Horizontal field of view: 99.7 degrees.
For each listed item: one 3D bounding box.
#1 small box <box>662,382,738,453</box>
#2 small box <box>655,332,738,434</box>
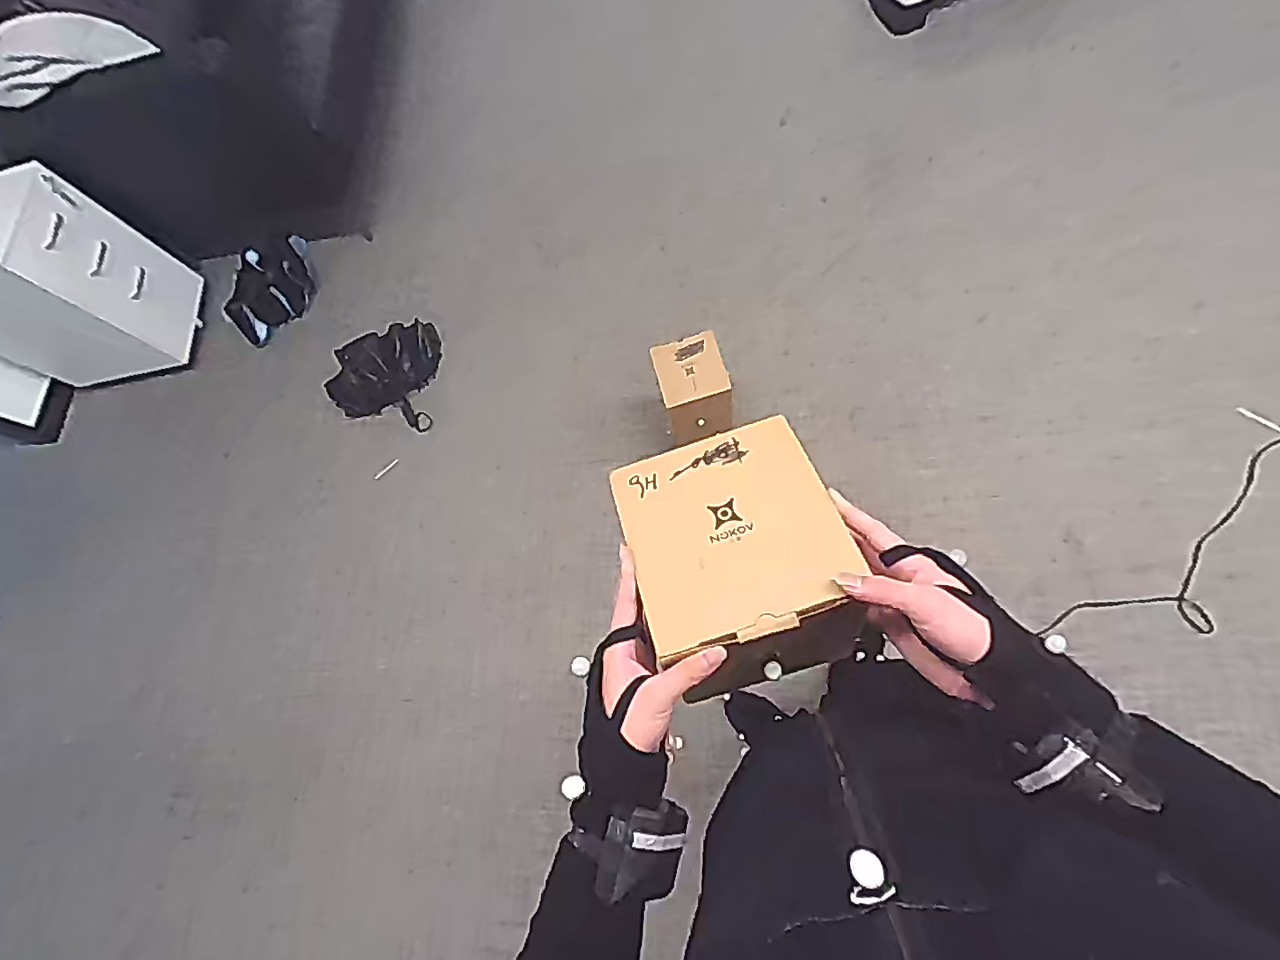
[{"bbox_3d":[0.175,-0.193,1.537,0.168,0.176,0.179,-17,68,6],"label":"small box"},{"bbox_3d":[0.147,-0.242,1.382,0.168,0.176,0.179,-17,70,7],"label":"small box"}]
